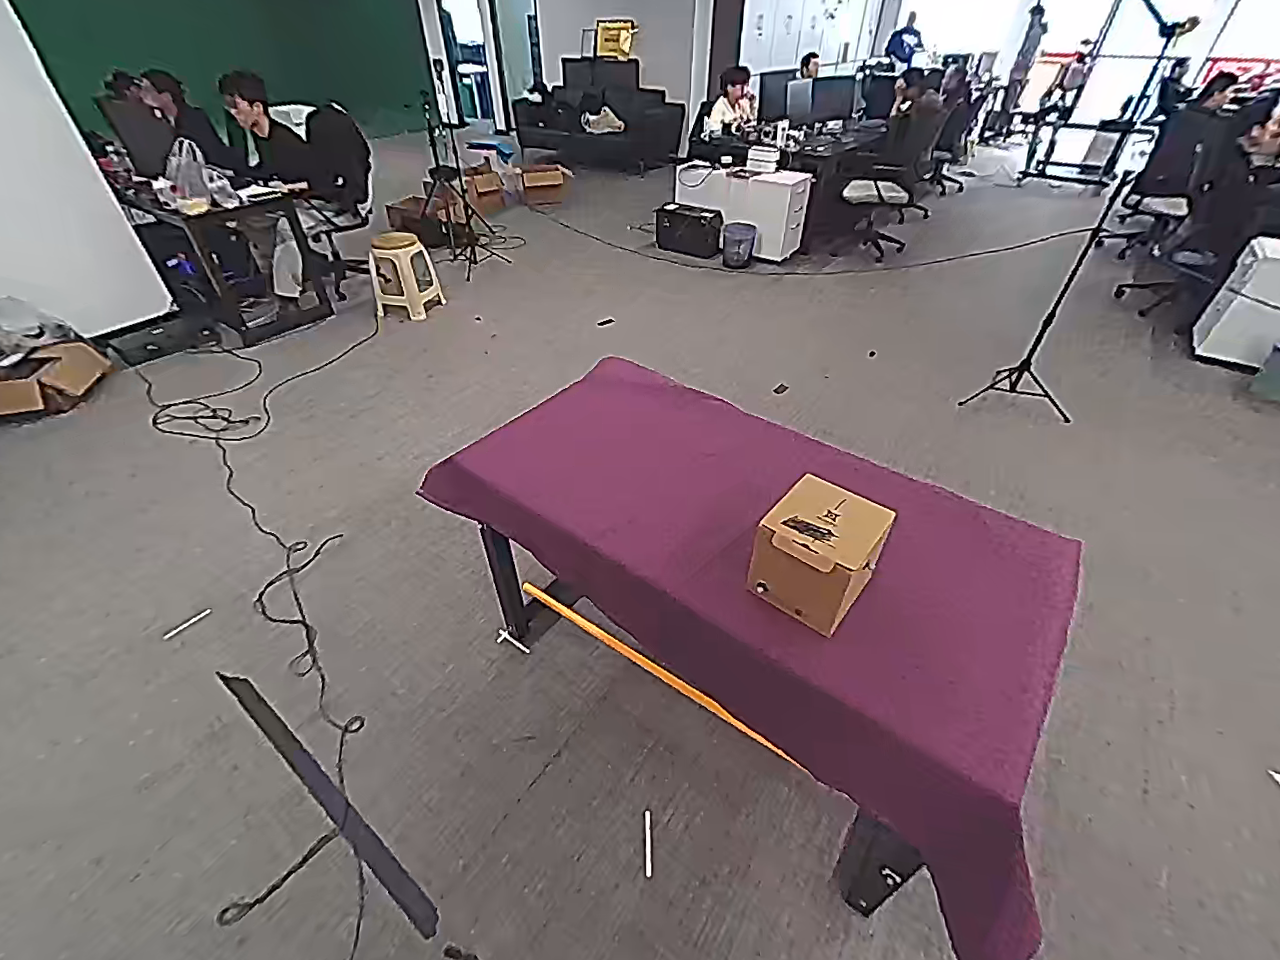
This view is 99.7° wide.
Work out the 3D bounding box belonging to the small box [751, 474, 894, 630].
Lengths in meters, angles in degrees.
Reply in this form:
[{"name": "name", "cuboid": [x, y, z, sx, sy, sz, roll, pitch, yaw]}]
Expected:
[{"name": "small box", "cuboid": [0.309, 0.125, 0.942, 0.168, 0.176, 0.179, 29, 47, 29]}]
